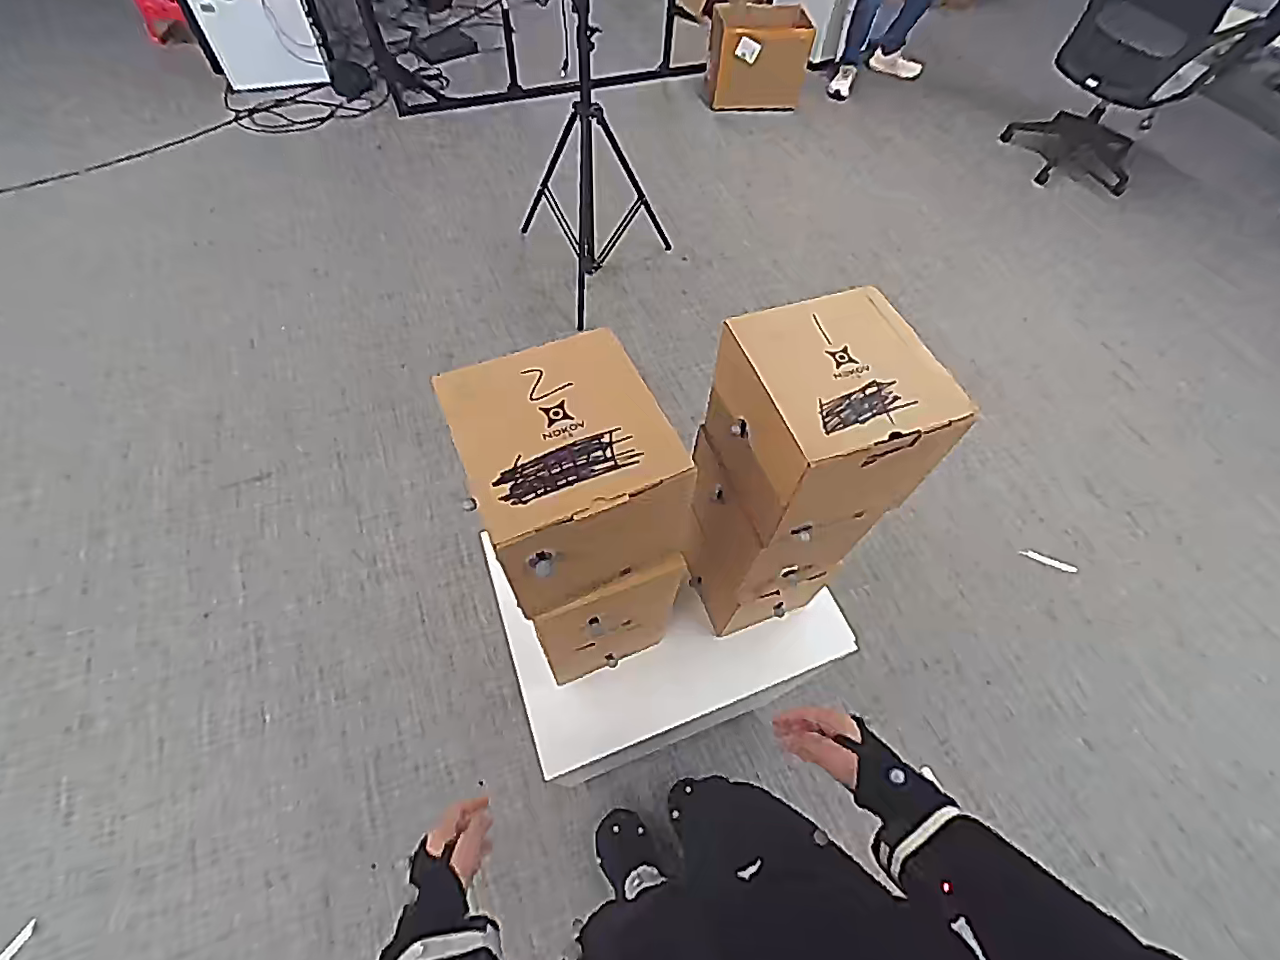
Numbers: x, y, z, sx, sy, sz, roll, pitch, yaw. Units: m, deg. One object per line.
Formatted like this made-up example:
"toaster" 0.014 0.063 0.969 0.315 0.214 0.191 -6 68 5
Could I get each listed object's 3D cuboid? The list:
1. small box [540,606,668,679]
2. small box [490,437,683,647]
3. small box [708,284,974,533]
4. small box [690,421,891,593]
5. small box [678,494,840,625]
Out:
"small box" -0.075 0.164 0.785 0.168 0.176 0.179 -19 63 -14
"small box" -0.063 0.083 0.644 0.168 0.176 0.179 -18 61 -14
"small box" 0.182 -0.063 0.553 0.168 0.176 0.179 -16 60 -10
"small box" 0.174 0.020 0.696 0.168 0.176 0.179 -17 63 -11
"small box" 0.169 0.109 0.831 0.168 0.176 0.179 -16 63 -13
